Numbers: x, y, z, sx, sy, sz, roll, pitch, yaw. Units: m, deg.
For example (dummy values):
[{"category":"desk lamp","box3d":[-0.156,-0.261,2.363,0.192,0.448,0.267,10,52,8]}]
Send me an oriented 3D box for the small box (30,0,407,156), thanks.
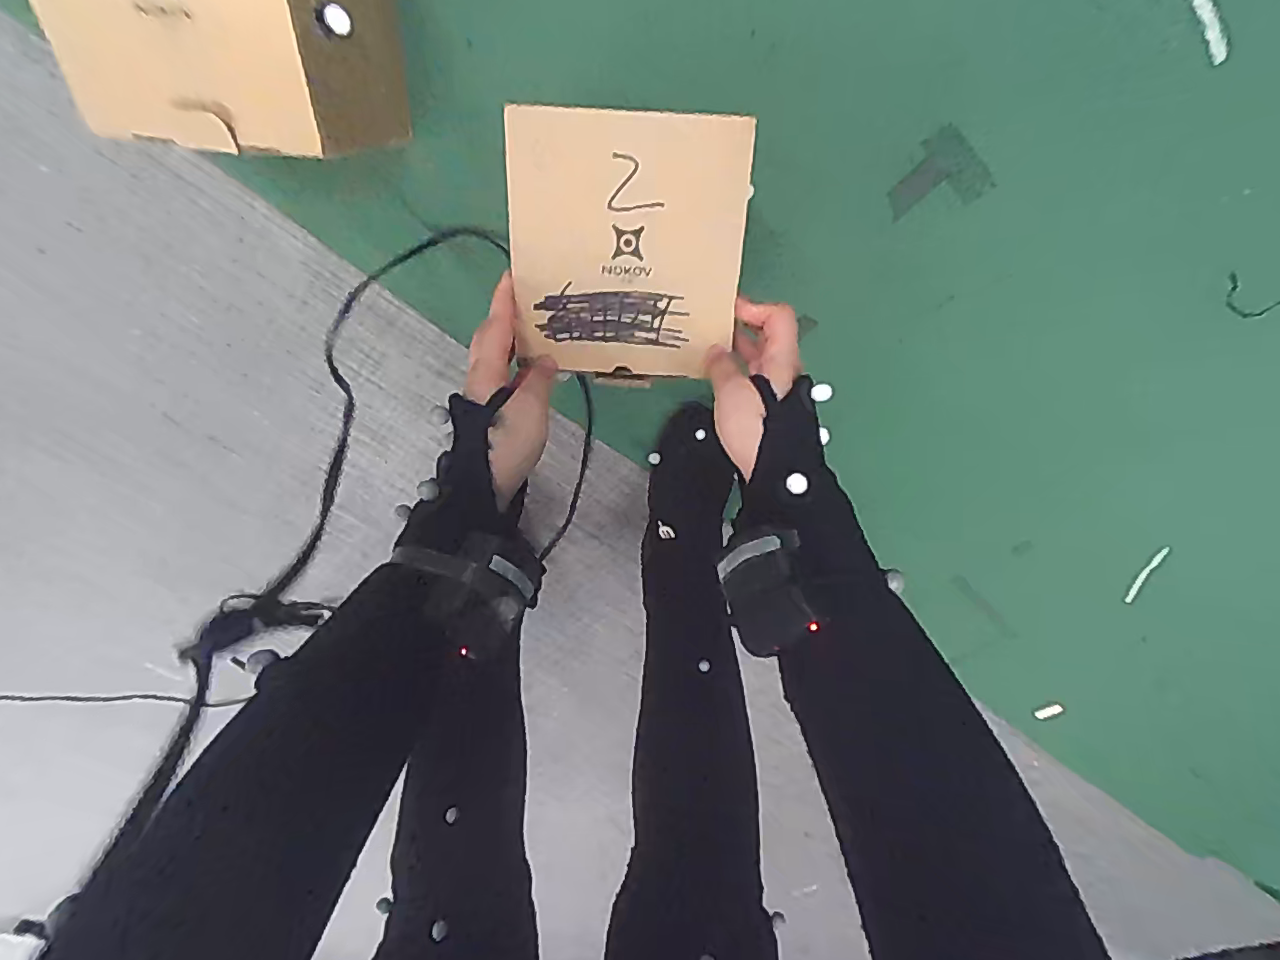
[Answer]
[{"category":"small box","box3d":[-0.292,-0.352,0.392,0.168,0.176,0.179,4,128,-1]}]
